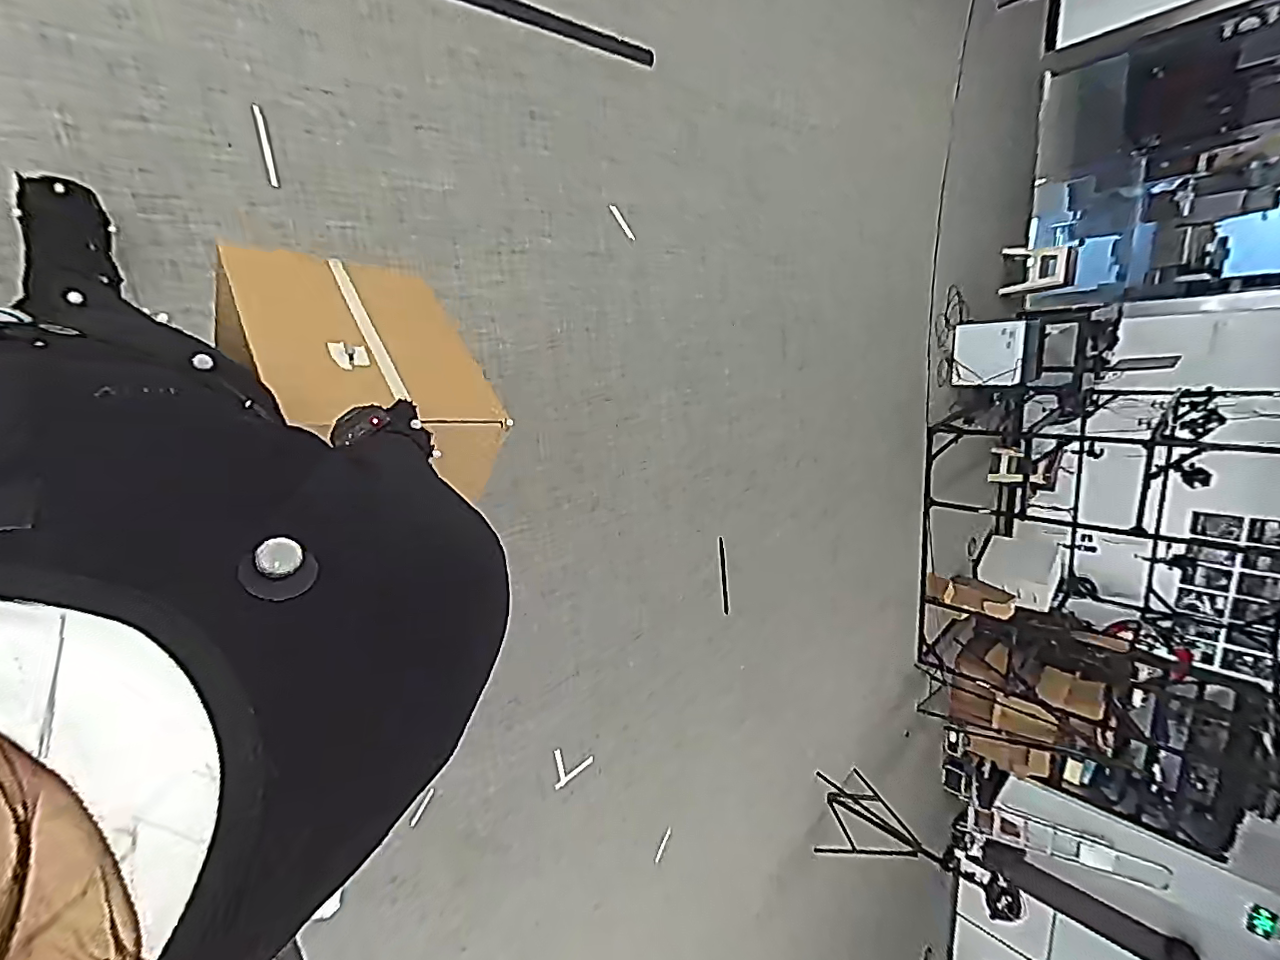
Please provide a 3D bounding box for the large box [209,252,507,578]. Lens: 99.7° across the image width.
[{"bbox_3d":[-0.491,-0.108,0.908,0.320,0.408,0.320,-7,142,-44],"label":"large box"}]
